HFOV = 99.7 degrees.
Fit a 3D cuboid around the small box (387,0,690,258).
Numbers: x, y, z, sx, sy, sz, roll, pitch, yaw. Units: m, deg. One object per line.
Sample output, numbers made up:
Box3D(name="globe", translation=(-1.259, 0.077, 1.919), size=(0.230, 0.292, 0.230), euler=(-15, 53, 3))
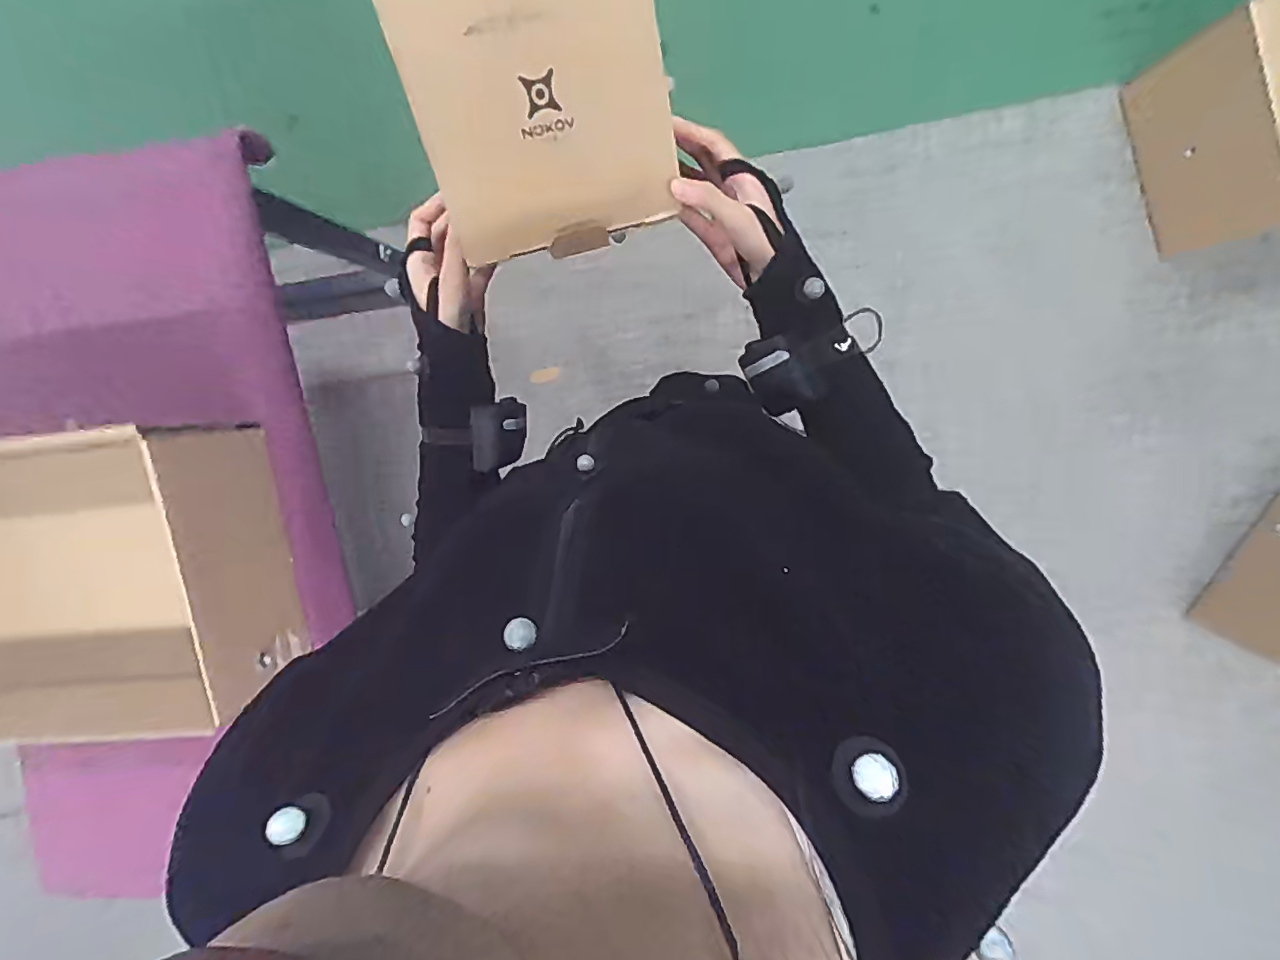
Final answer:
Box3D(name="small box", translation=(-0.068, -0.288, 0.410), size=(0.168, 0.176, 0.179), euler=(-14, 121, -2))
